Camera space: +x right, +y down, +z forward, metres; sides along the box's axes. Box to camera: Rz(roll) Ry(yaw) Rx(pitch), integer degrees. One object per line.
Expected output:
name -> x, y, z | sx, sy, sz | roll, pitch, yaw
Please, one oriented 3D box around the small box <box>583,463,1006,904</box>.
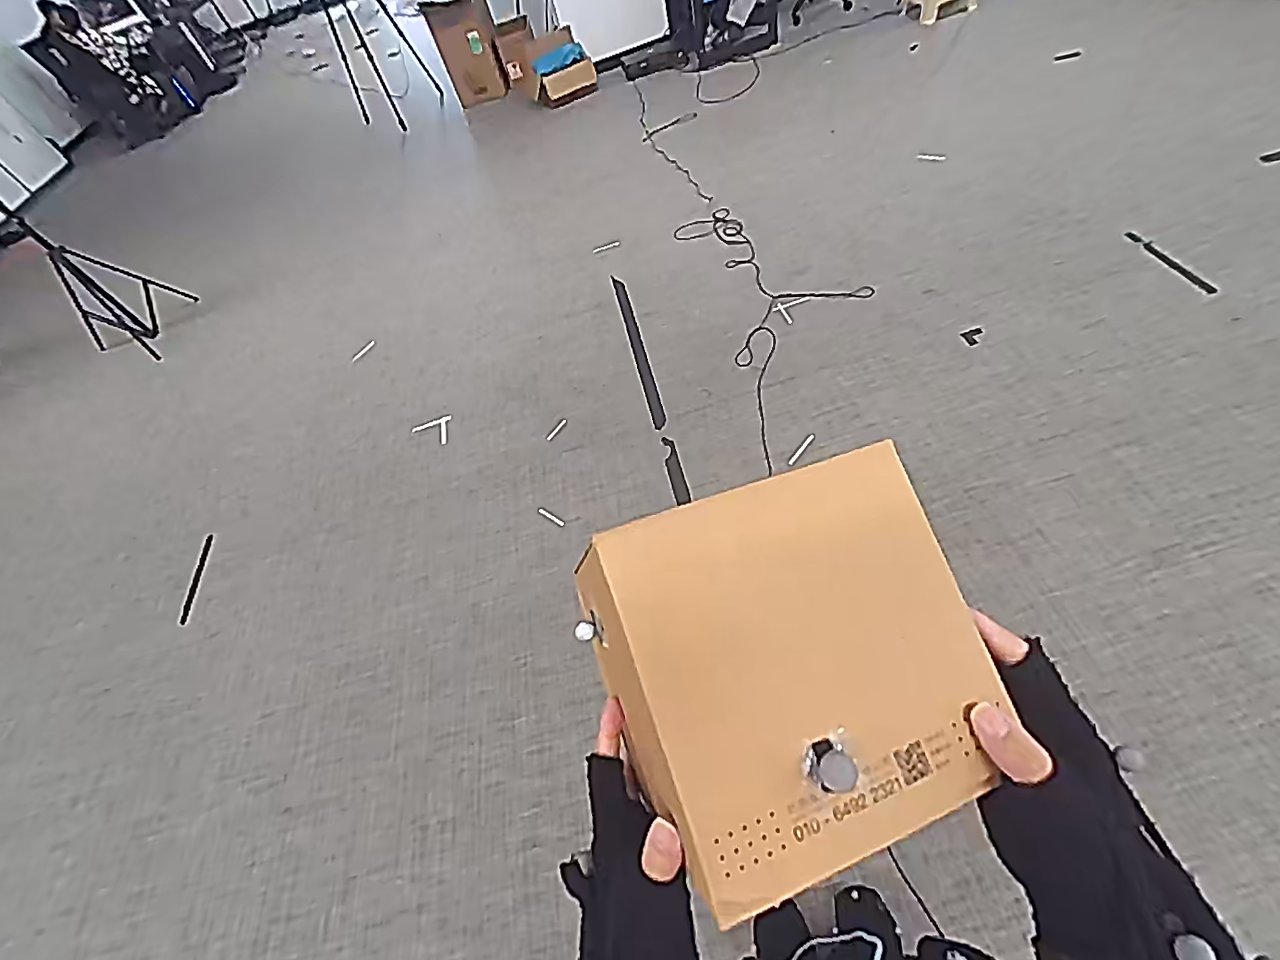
small box -> 0.069, 0.111, 0.339 | 0.168, 0.179, 0.176 | -17, 79, -14
